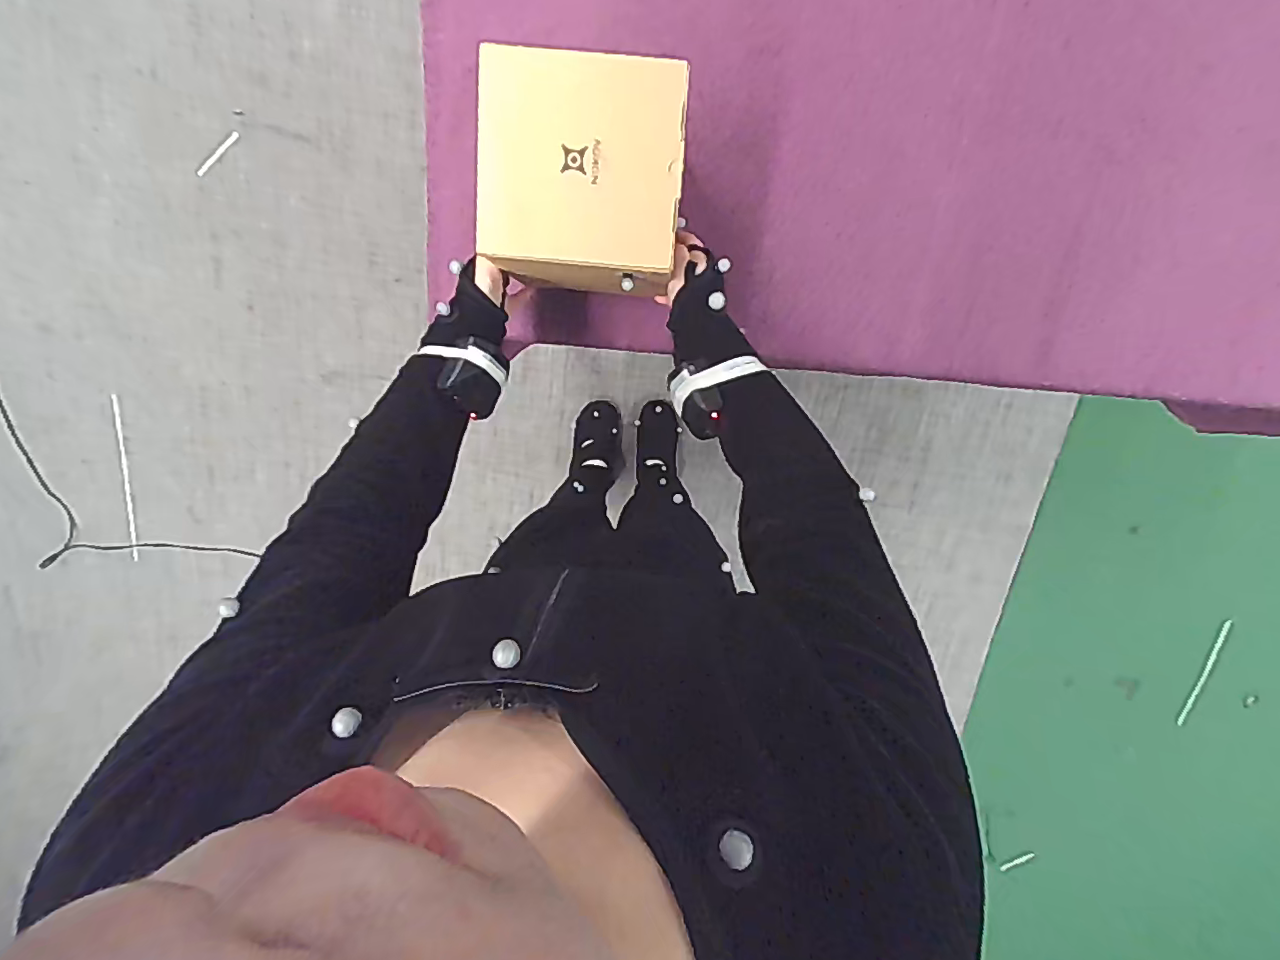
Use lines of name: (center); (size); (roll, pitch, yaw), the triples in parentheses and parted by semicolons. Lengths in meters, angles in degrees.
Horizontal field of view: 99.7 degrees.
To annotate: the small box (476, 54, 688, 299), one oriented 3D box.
small box: (-0.051, -0.283, 0.544); (0.179, 0.176, 0.168); (4, 100, 0)
